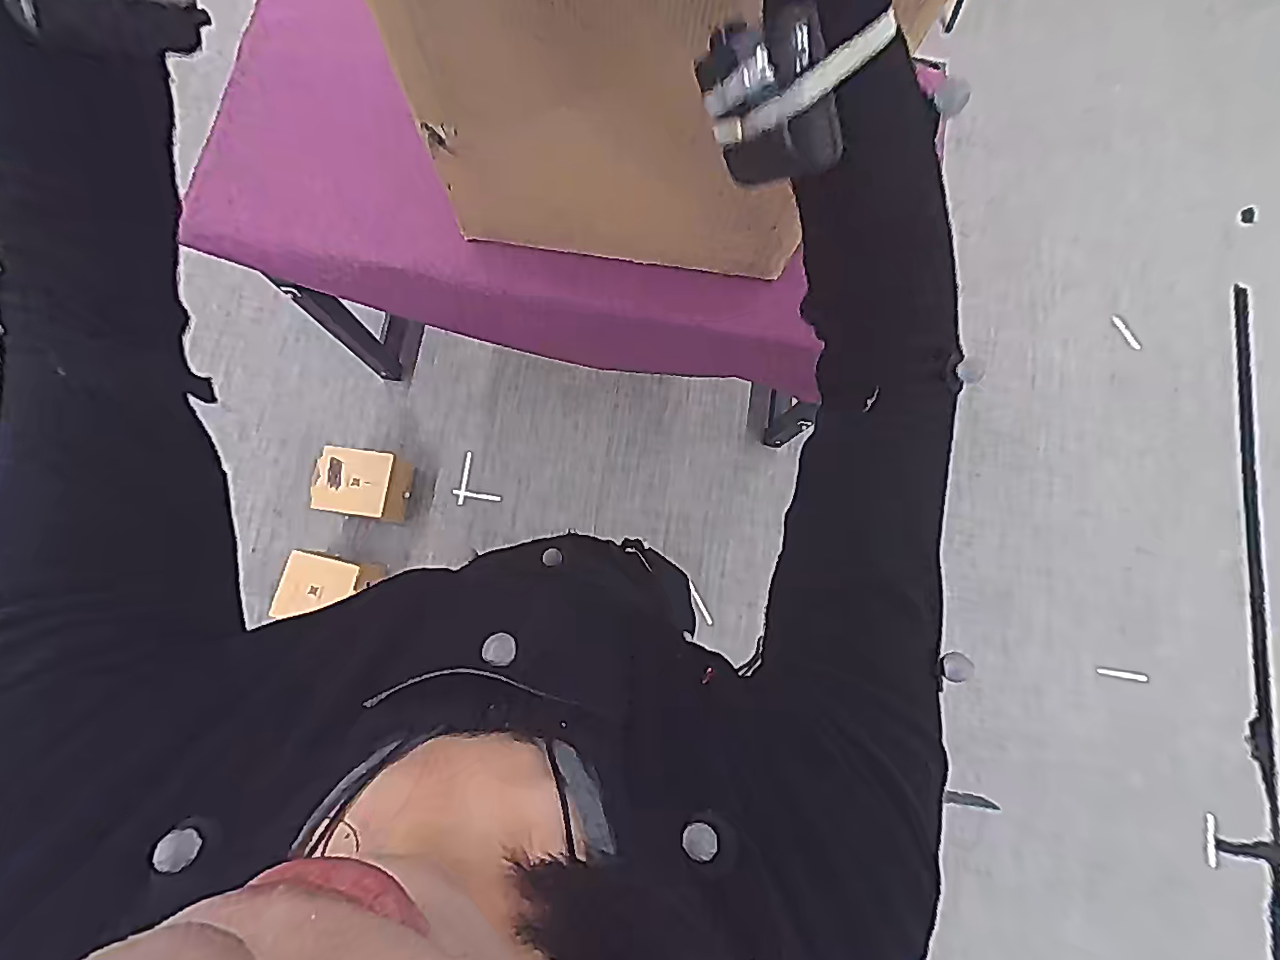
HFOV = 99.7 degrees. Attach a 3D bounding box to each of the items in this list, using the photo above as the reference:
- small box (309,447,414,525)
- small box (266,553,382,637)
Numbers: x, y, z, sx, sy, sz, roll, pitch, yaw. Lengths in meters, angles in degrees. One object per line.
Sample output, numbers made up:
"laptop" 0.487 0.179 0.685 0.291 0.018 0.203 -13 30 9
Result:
"small box" -0.724 0.022 1.423 0.179 0.176 0.168 8 80 -3
"small box" -0.789 0.289 1.375 0.179 0.176 0.168 14 78 -1
